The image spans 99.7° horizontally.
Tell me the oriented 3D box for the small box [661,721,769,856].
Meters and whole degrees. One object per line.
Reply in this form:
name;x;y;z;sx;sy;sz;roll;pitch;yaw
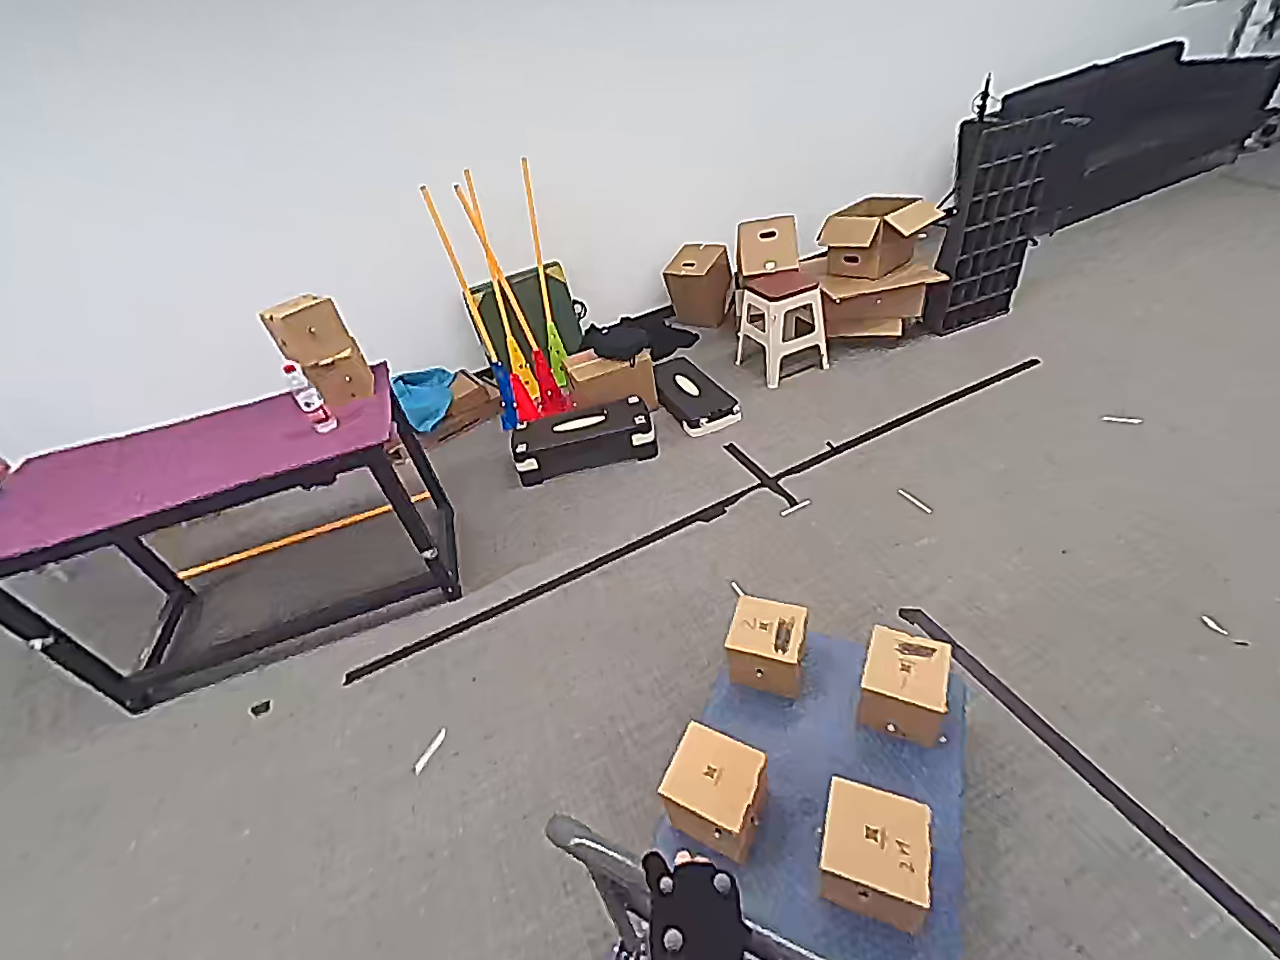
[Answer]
small box;0.166;0.660;1.154;0.179;0.176;0.168;13;45;27

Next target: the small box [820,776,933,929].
small box;0.442;0.704;1.022;0.179;0.176;0.168;8;42;24

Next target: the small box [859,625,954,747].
small box;0.615;0.477;1.258;0.168;0.176;0.179;11;45;27
